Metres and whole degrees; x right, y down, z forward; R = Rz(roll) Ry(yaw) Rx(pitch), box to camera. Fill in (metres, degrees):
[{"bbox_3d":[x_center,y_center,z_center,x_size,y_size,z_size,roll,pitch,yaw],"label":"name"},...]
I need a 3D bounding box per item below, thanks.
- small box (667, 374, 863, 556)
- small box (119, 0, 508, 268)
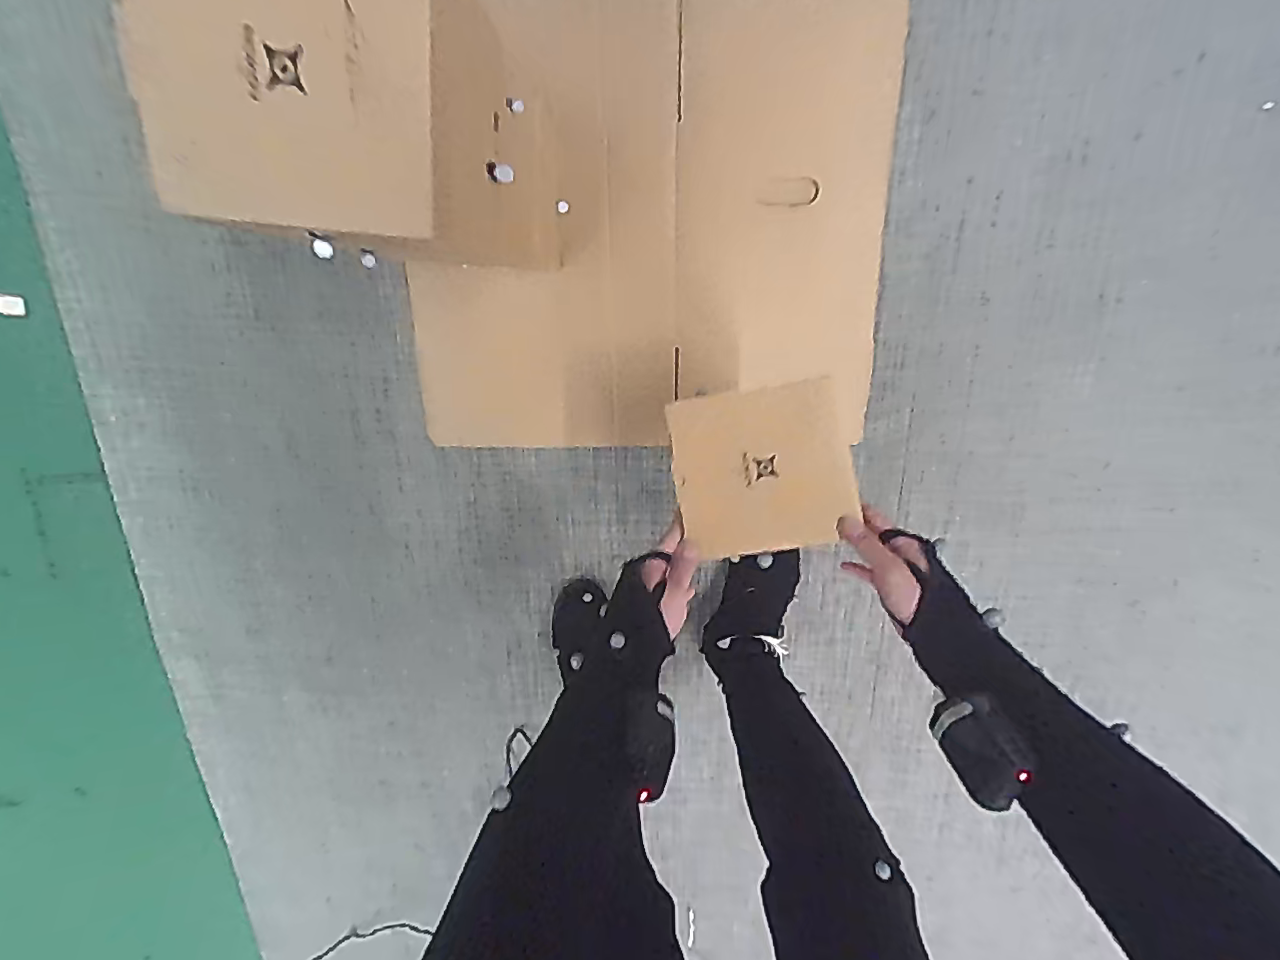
[{"bbox_3d":[0.135,-0.012,0.623,0.179,0.176,0.168,-9,86,9],"label":"small box"},{"bbox_3d":[-0.206,-0.250,0.388,0.179,0.176,0.168,6,108,0],"label":"small box"}]
